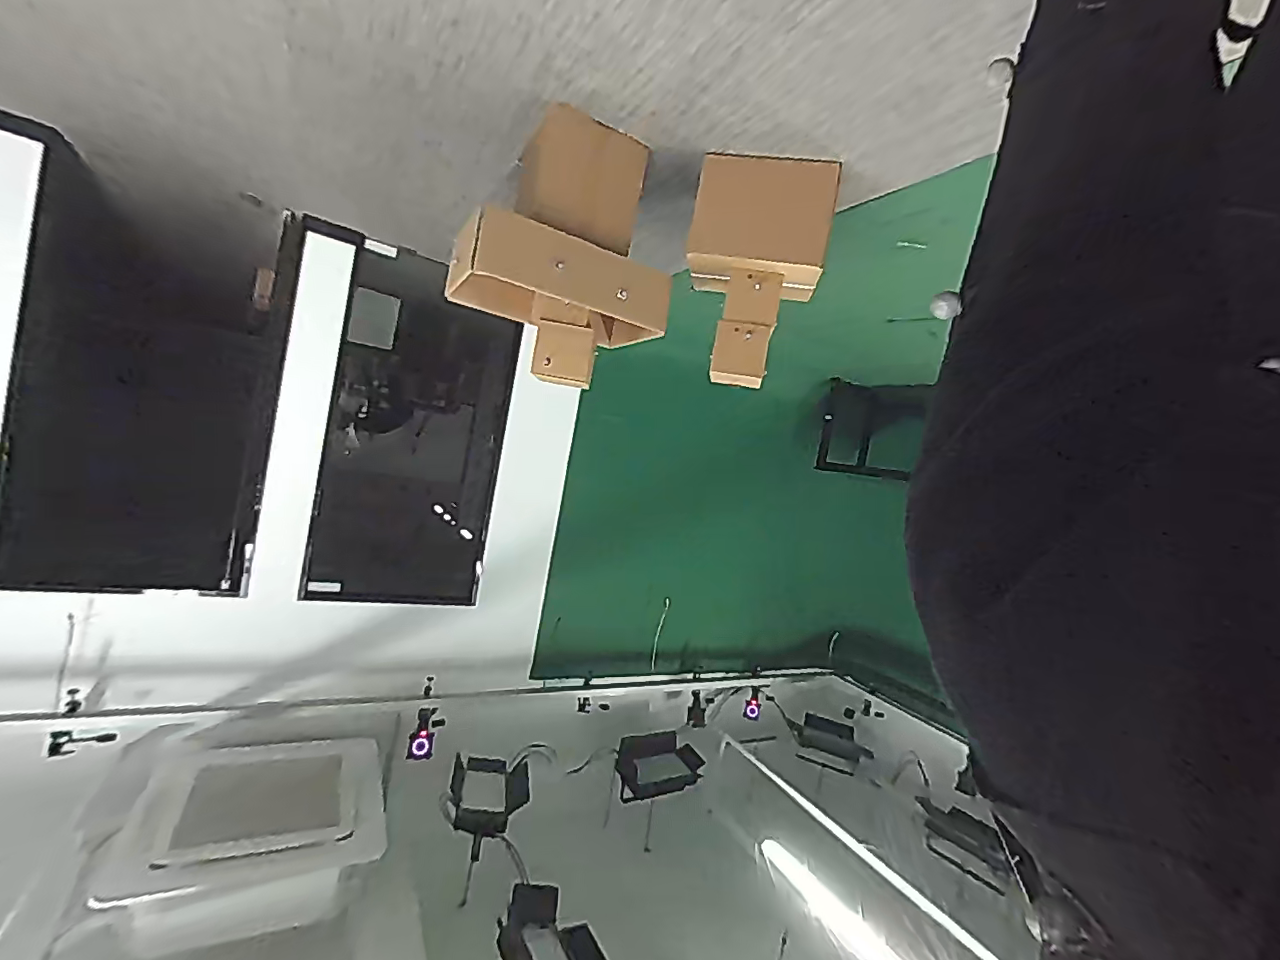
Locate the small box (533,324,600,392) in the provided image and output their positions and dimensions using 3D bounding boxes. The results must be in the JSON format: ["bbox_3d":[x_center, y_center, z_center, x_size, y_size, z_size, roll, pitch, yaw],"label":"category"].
[{"bbox_3d":[-0.229,-0.391,1.731,0.179,0.176,0.168,10,-179,-1],"label":"small box"}]

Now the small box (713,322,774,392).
[{"bbox_3d":[0.332,-0.393,1.739,0.168,0.176,0.179,10,-179,10],"label":"small box"}]

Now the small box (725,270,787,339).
[{"bbox_3d":[0.367,-0.553,1.742,0.168,0.176,0.179,11,180,7],"label":"small box"}]

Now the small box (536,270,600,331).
[{"bbox_3d":[-0.225,-0.558,1.736,0.179,0.176,0.168,10,179,0],"label":"small box"}]
